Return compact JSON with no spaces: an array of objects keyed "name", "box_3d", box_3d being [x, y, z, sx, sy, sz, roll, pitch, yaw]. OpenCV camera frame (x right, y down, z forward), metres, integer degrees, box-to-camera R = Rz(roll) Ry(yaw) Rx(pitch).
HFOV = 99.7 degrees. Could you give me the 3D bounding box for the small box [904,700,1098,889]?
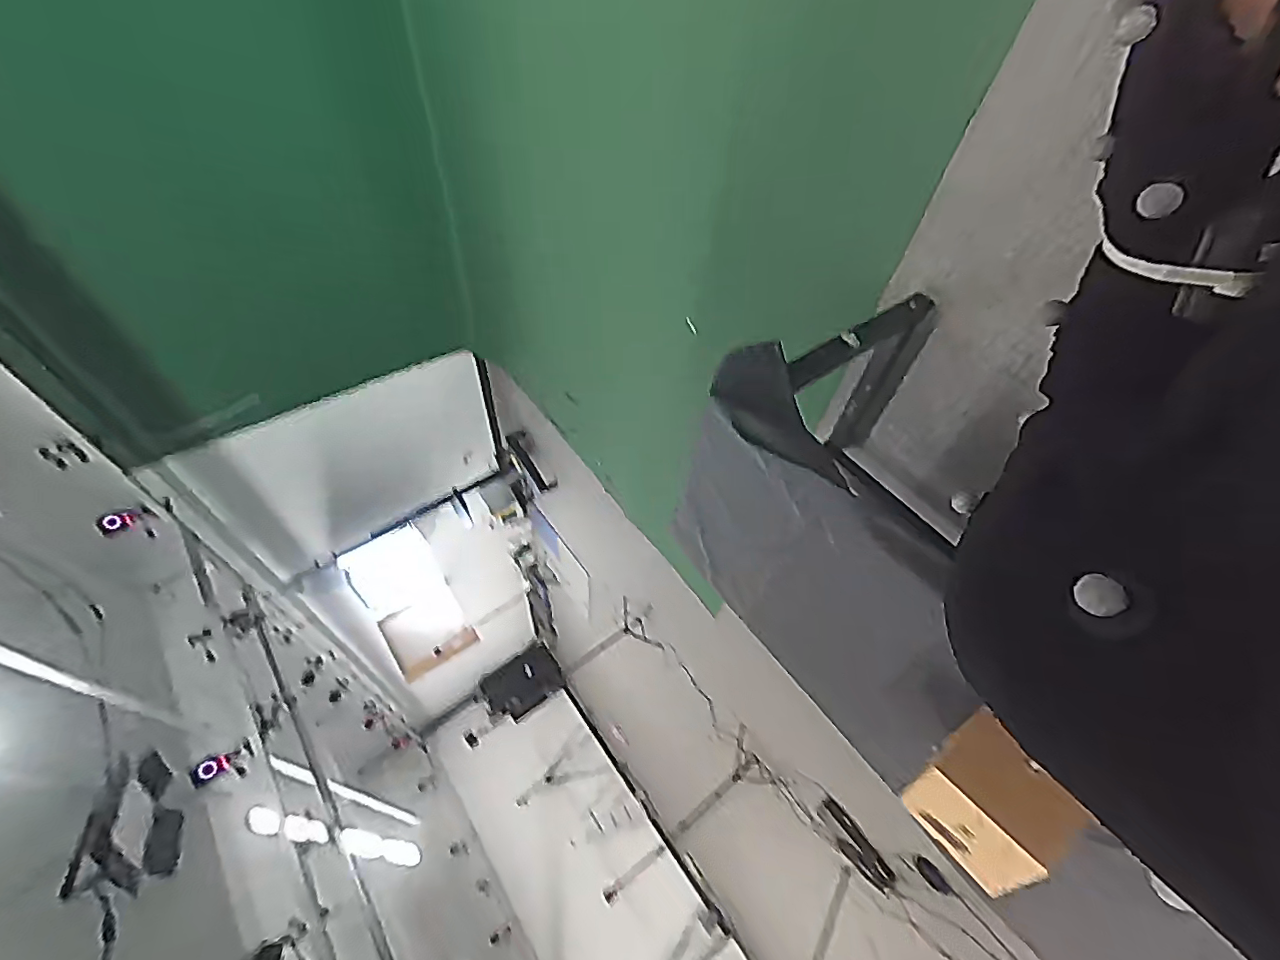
[{"name":"small box","box_3d":[0.556,0.484,0.842,0.168,0.176,0.179,42,149,35]}]
